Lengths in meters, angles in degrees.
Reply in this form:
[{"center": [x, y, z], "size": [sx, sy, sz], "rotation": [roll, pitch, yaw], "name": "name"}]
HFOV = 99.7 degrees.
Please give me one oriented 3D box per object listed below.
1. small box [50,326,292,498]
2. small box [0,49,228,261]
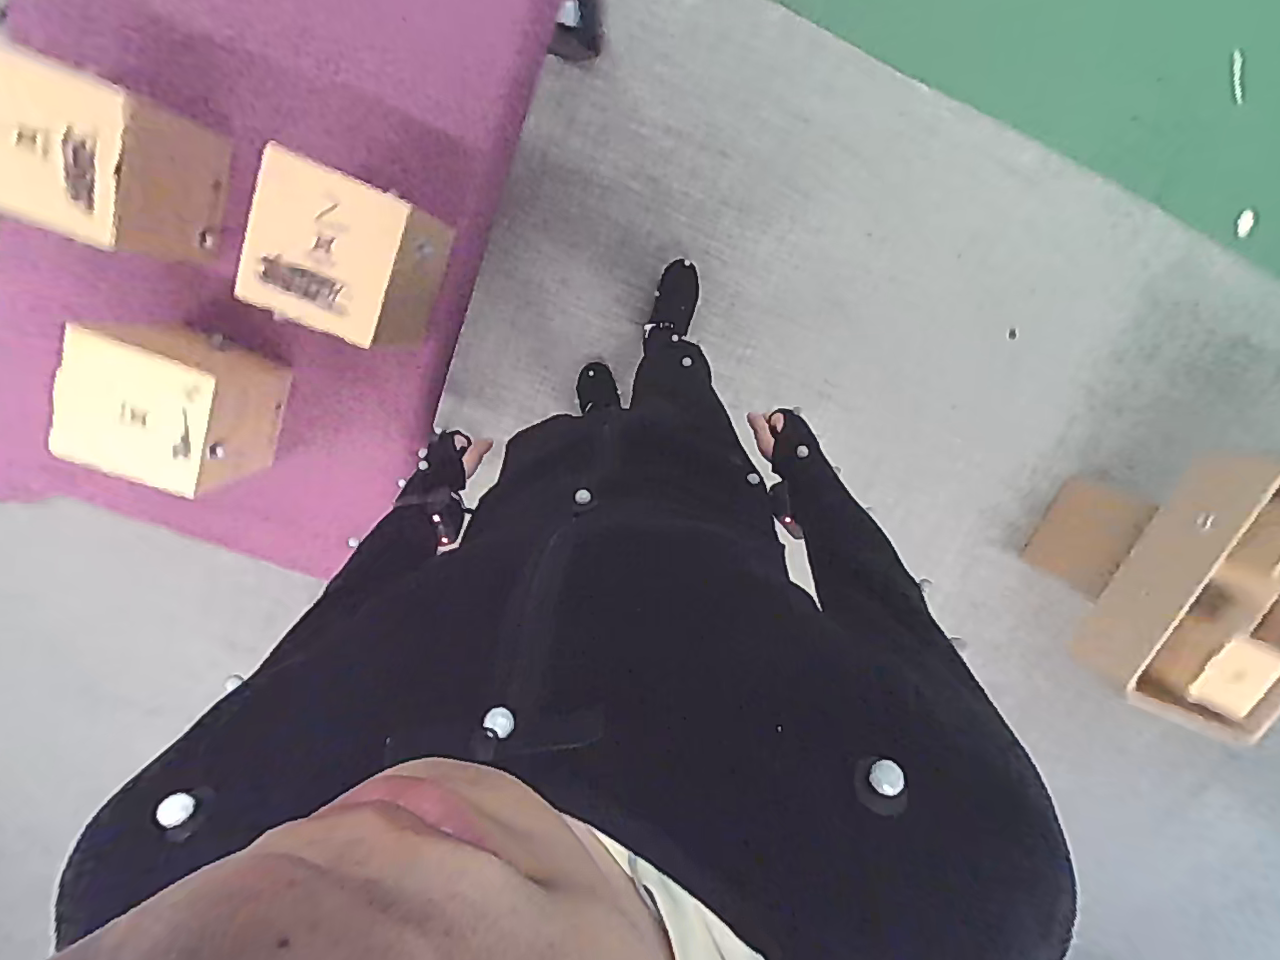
[{"center": [-0.627, -0.099, 0.741], "size": [0.179, 0.176, 0.168], "rotation": [20, 105, -7], "name": "small box"}, {"center": [-0.657, -0.383, 0.664], "size": [0.179, 0.176, 0.168], "rotation": [19, 103, -7], "name": "small box"}]
